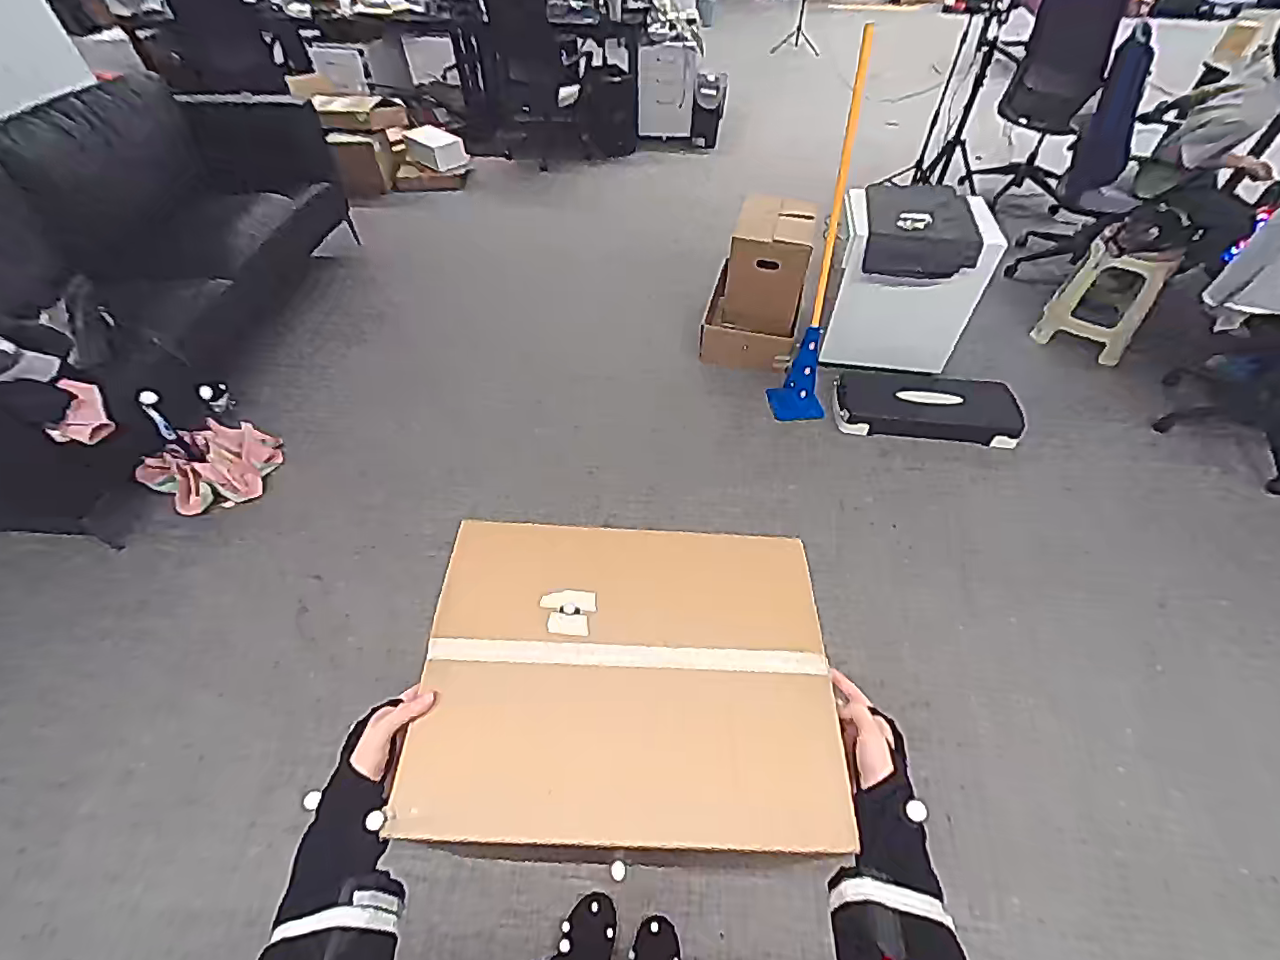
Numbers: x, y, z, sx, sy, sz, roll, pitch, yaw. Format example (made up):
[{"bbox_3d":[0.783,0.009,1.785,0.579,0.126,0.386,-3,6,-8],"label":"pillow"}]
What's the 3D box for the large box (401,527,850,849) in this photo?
[{"bbox_3d":[-0.013,0.273,0.680,0.408,0.320,0.320,3,52,-1],"label":"large box"}]
